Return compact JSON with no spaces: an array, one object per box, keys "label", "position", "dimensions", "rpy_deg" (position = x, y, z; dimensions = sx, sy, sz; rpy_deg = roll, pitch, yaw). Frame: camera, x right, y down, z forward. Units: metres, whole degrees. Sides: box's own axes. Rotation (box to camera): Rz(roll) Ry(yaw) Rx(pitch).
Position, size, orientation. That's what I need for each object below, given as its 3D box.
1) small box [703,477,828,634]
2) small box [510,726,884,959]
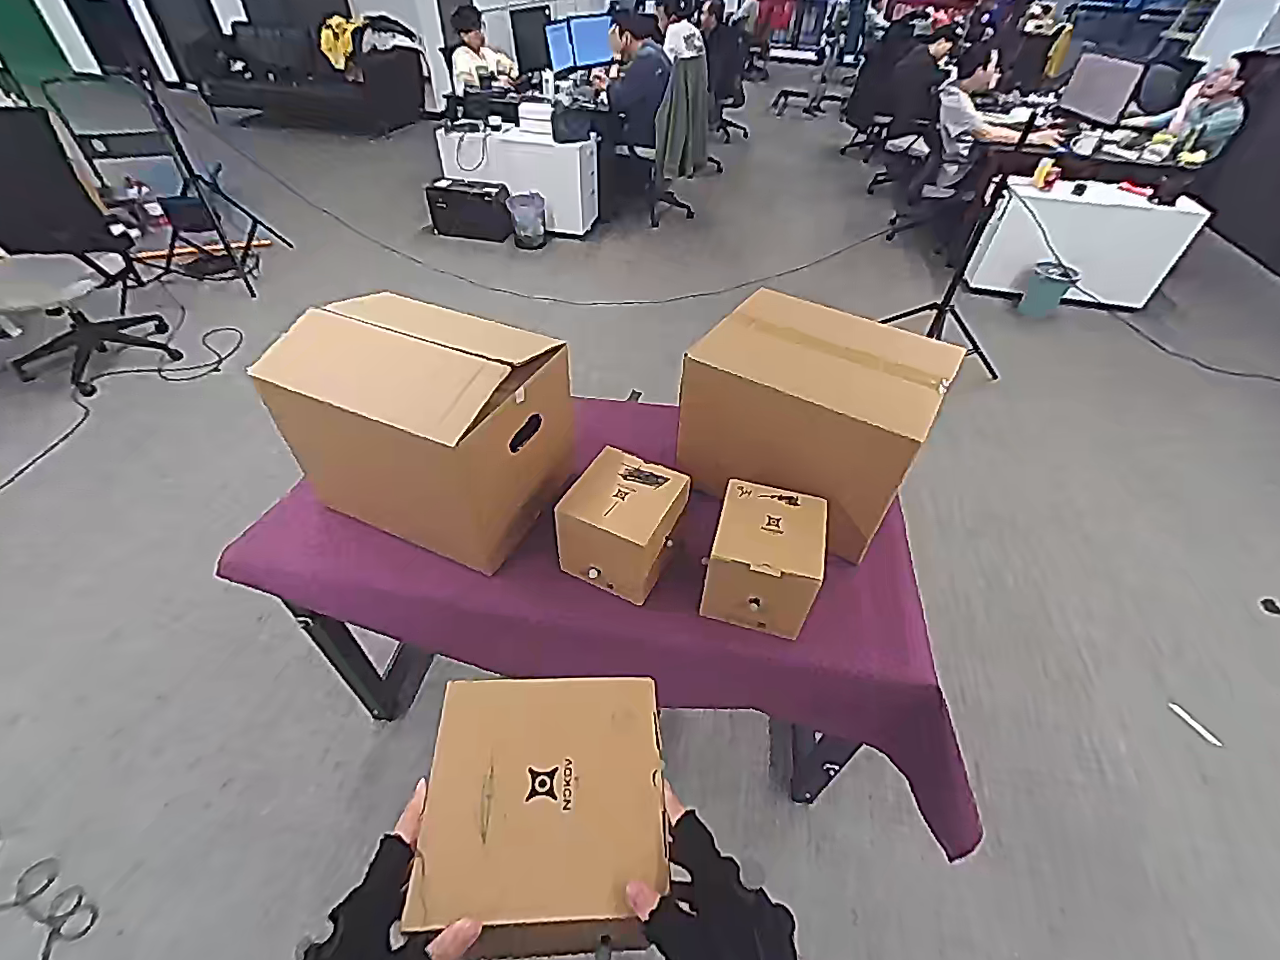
[{"label":"small box","position":[0.204,0.127,0.899],"dimensions":[0.168,0.176,0.179],"rpy_deg":[13,46,10]},{"label":"small box","position":[0.045,0.312,0.398],"dimensions":[0.176,0.168,0.179],"rpy_deg":[19,22,-52]}]
